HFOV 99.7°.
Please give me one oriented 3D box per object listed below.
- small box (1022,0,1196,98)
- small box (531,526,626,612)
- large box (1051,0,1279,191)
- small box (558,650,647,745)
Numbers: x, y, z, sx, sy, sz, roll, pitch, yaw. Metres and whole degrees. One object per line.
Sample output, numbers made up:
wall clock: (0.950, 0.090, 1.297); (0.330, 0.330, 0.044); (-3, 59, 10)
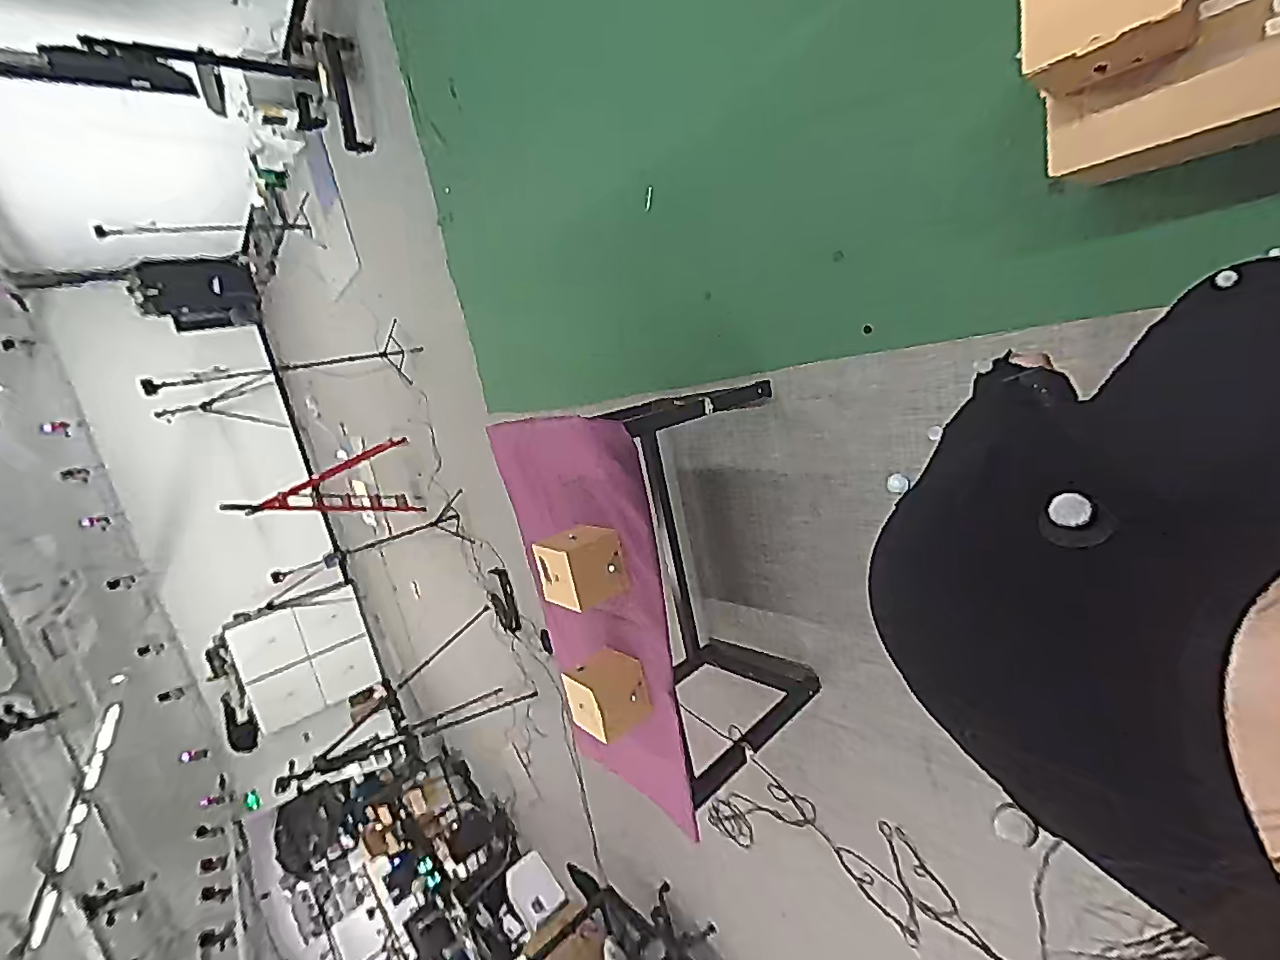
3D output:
small box: (0.647, -0.671, 0.746); (0.168, 0.176, 0.179); (4, 108, 49)
small box: (-0.163, 0.230, 1.449); (0.179, 0.176, 0.168); (2, 108, 50)
large box: (0.905, -0.684, 0.824); (0.408, 0.320, 0.320); (3, 109, 49)
small box: (-0.105, 0.609, 1.545); (0.179, 0.176, 0.168); (1, 107, 52)
